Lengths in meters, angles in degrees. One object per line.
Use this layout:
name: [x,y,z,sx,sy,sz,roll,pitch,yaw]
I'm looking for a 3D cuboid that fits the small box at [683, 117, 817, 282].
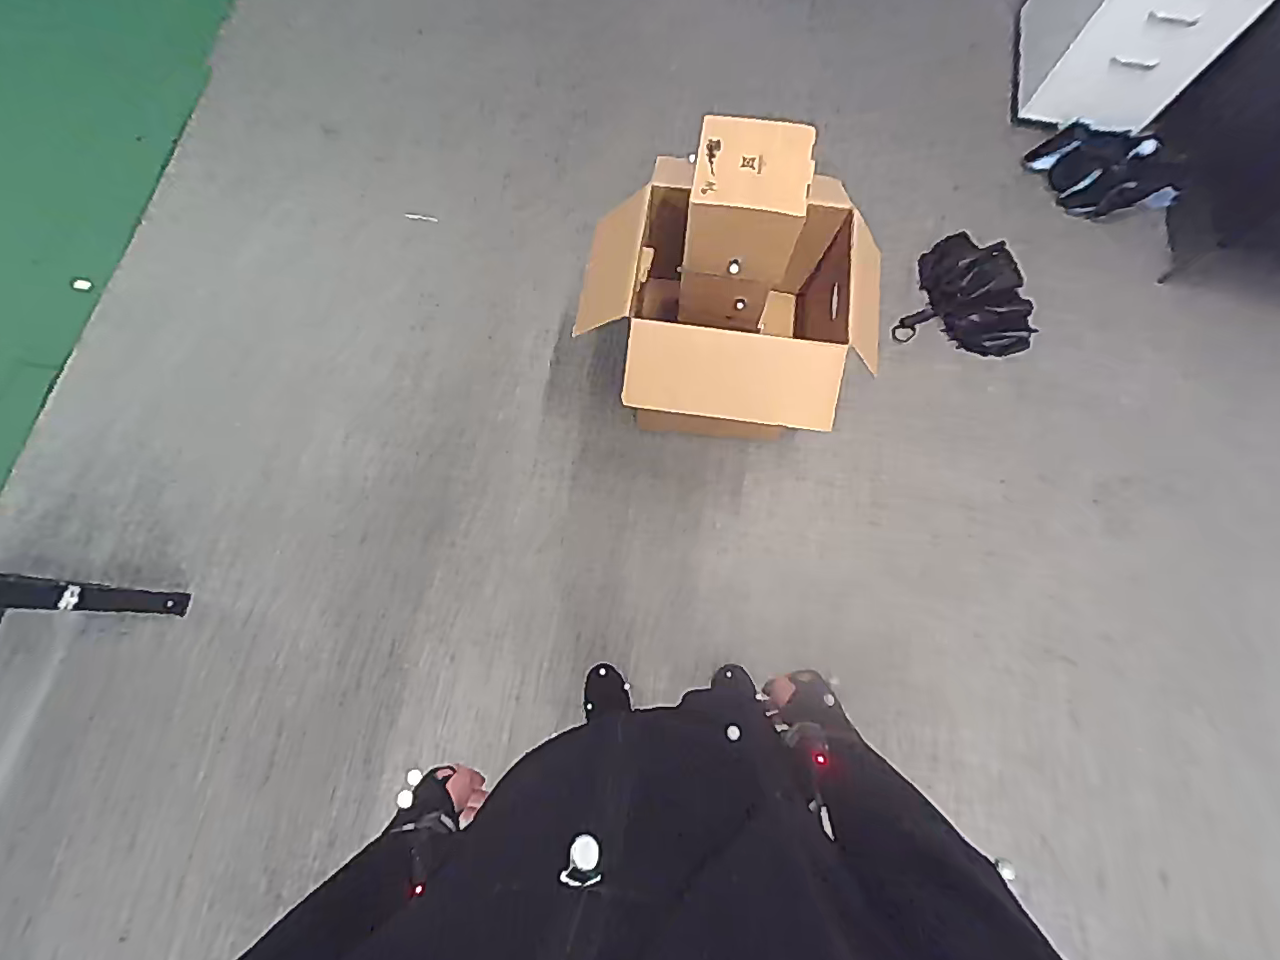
small box: [0.174,-0.455,0.898,0.179,0.176,0.168,10,76,3]
